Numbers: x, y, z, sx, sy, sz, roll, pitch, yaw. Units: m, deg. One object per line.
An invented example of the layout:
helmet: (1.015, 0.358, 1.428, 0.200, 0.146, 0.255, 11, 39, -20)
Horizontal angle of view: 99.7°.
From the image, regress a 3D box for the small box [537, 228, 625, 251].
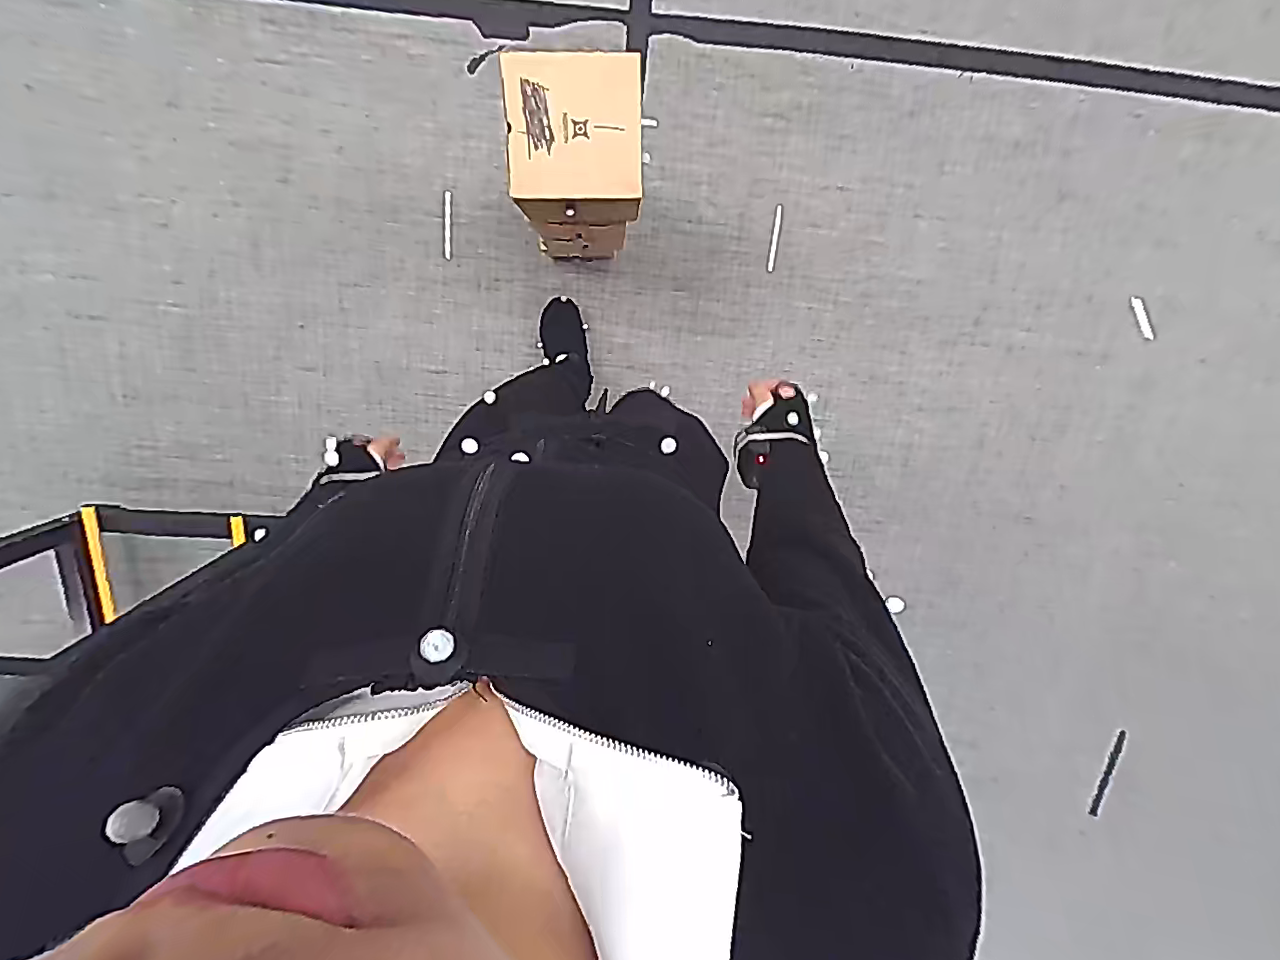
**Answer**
small box: (-0.116, -0.558, 1.081, 0.168, 0.176, 0.179, -2, 107, -1)

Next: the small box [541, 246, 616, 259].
small box: (-0.139, -0.607, 1.236, 0.168, 0.176, 0.179, -1, 108, -1)

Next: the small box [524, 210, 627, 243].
small box: (-0.101, -0.514, 0.922, 0.168, 0.176, 0.179, 3, 107, -2)

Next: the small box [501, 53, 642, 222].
small box: (-0.087, -0.468, 0.765, 0.179, 0.176, 0.168, -1, 106, -2)
